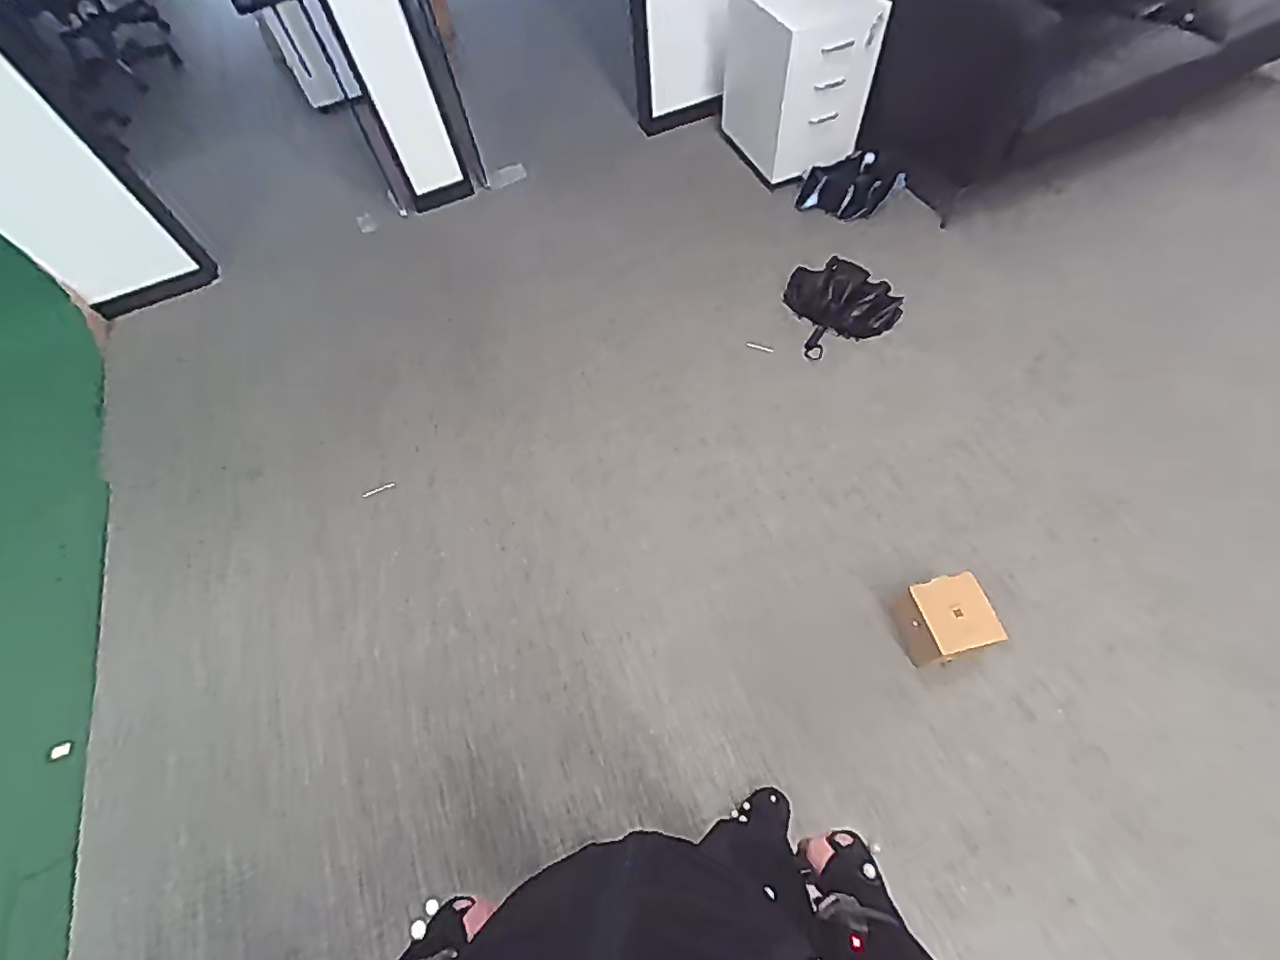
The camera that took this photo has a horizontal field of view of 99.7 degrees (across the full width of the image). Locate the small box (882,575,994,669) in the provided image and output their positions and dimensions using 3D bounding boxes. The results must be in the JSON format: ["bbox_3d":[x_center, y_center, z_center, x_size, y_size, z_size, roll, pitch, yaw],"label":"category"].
[{"bbox_3d":[0.756,0.370,1.398,0.168,0.176,0.179,-14,61,-2],"label":"small box"}]
